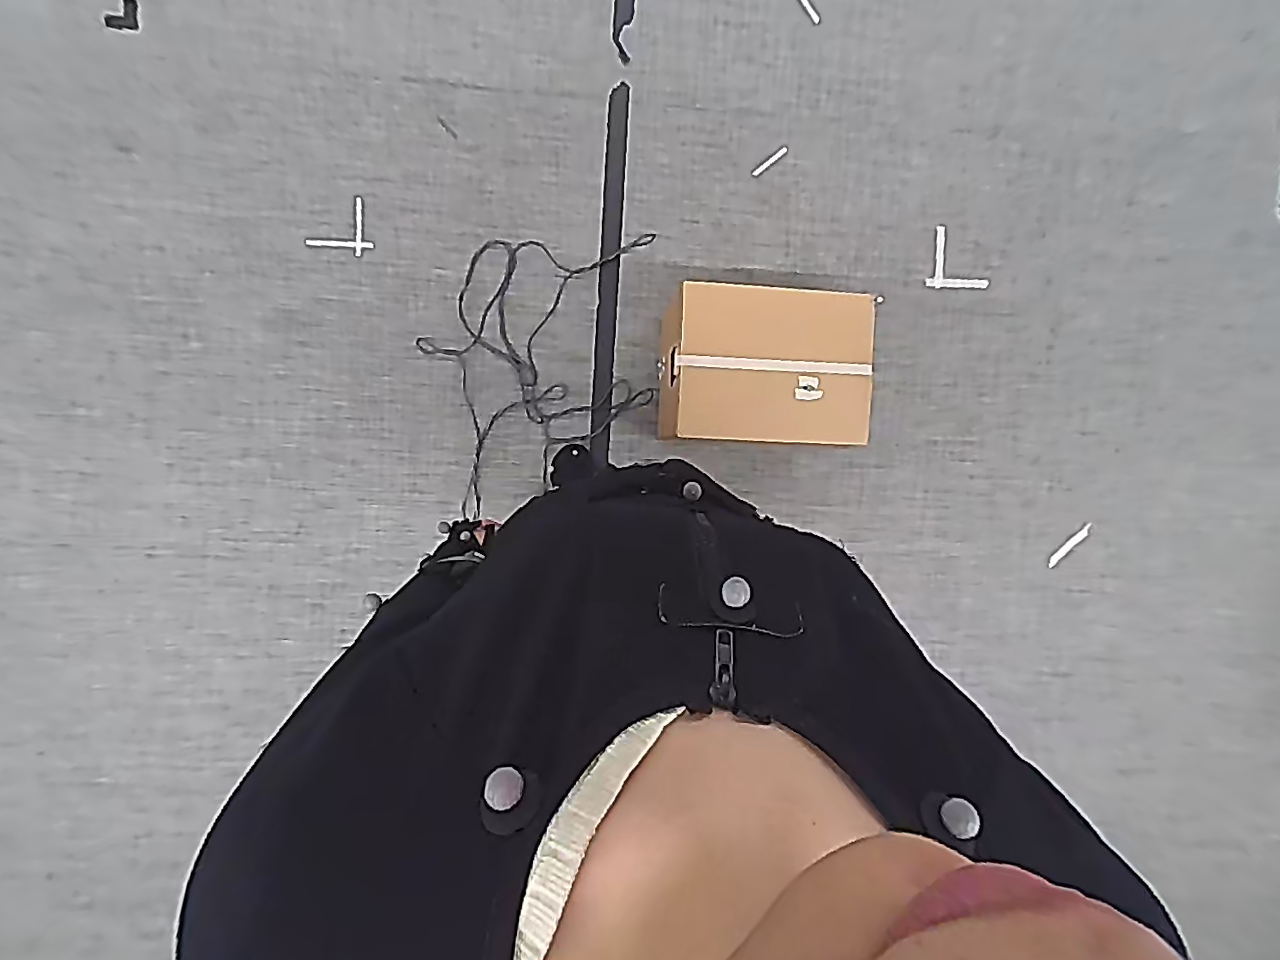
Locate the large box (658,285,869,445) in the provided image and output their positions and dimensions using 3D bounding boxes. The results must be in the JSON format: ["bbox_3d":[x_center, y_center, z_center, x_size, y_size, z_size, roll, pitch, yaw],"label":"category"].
[{"bbox_3d":[0.257,-0.241,1.252,0.408,0.320,0.320,2,94,-6],"label":"large box"}]
